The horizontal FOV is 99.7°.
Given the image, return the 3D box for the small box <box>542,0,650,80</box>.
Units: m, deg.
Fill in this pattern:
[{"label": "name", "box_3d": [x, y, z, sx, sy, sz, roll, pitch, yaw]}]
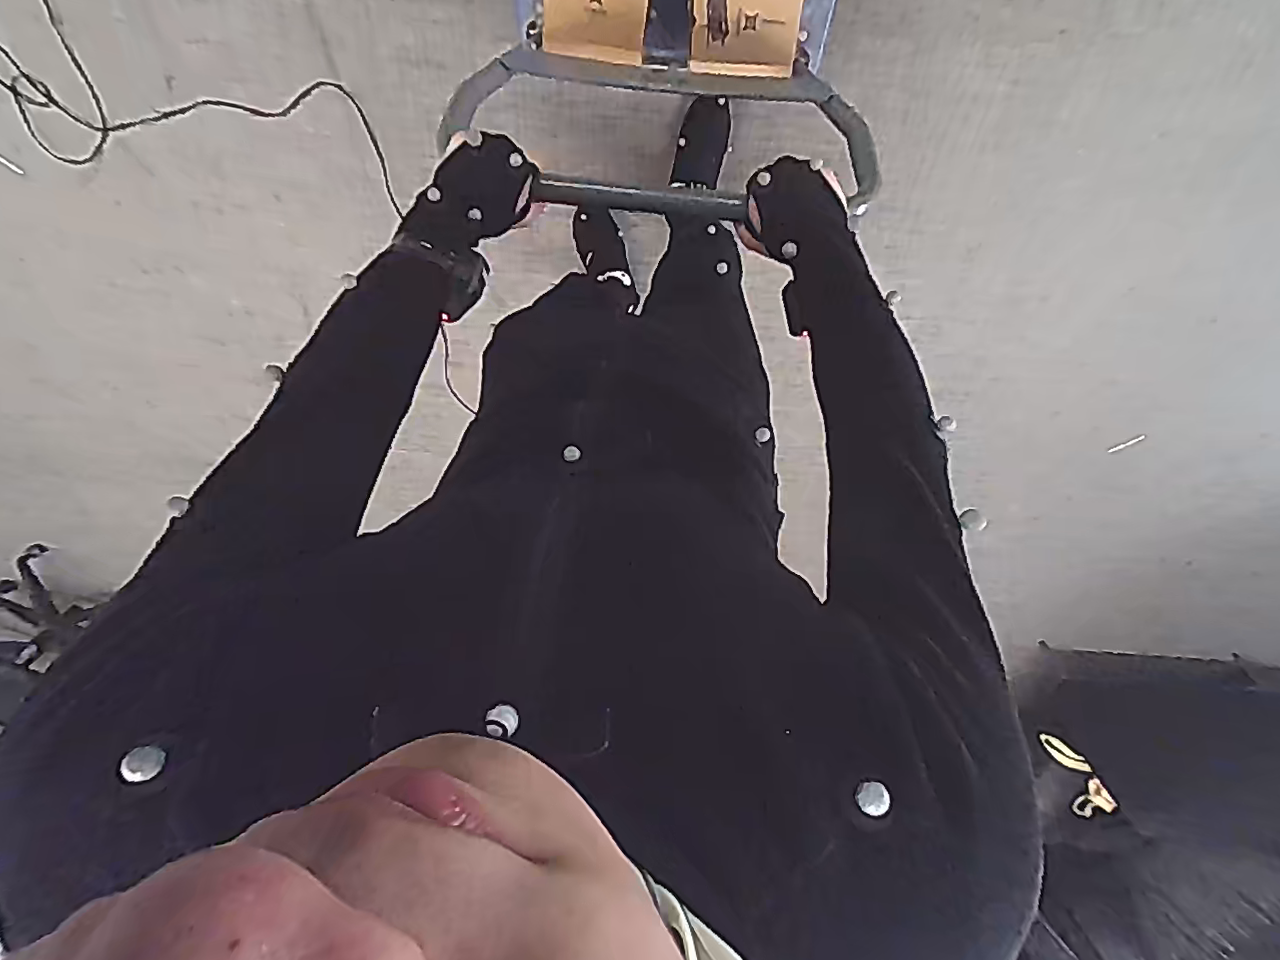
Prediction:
[{"label": "small box", "box_3d": [-0.067, -0.811, 0.909, 0.168, 0.176, 0.179, 8, 137, -5]}]
